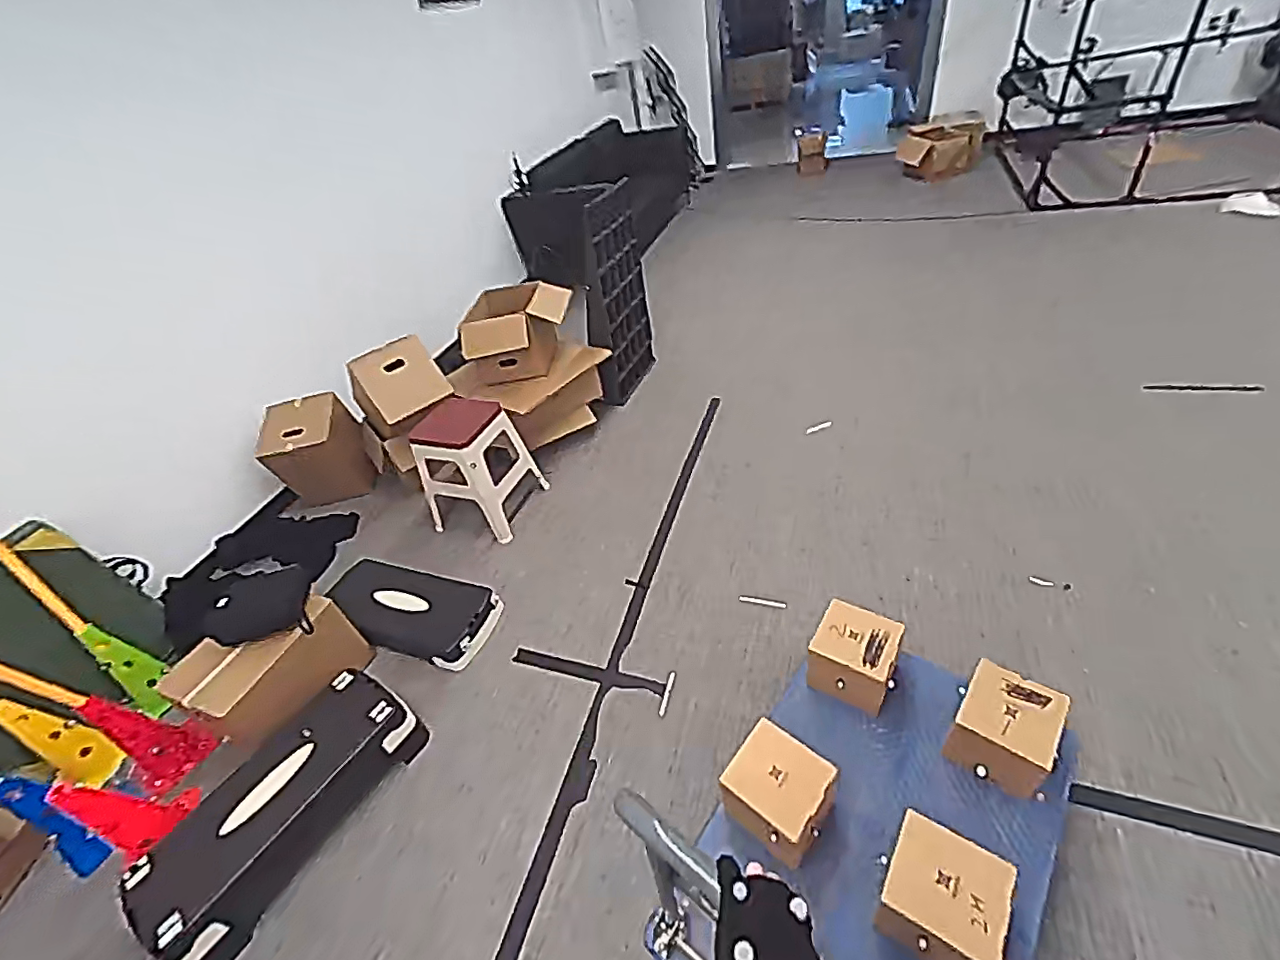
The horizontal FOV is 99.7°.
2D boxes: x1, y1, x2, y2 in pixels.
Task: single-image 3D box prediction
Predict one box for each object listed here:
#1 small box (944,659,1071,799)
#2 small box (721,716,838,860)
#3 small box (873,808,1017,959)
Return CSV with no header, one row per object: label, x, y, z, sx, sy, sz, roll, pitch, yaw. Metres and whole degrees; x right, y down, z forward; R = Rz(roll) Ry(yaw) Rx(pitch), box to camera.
small box,0.767,0.524,1.143,0.168,0.176,0.179,23,52,35
small box,0.288,0.642,1.125,0.179,0.176,0.168,24,52,35
small box,0.528,0.734,0.954,0.179,0.176,0.168,19,49,32
